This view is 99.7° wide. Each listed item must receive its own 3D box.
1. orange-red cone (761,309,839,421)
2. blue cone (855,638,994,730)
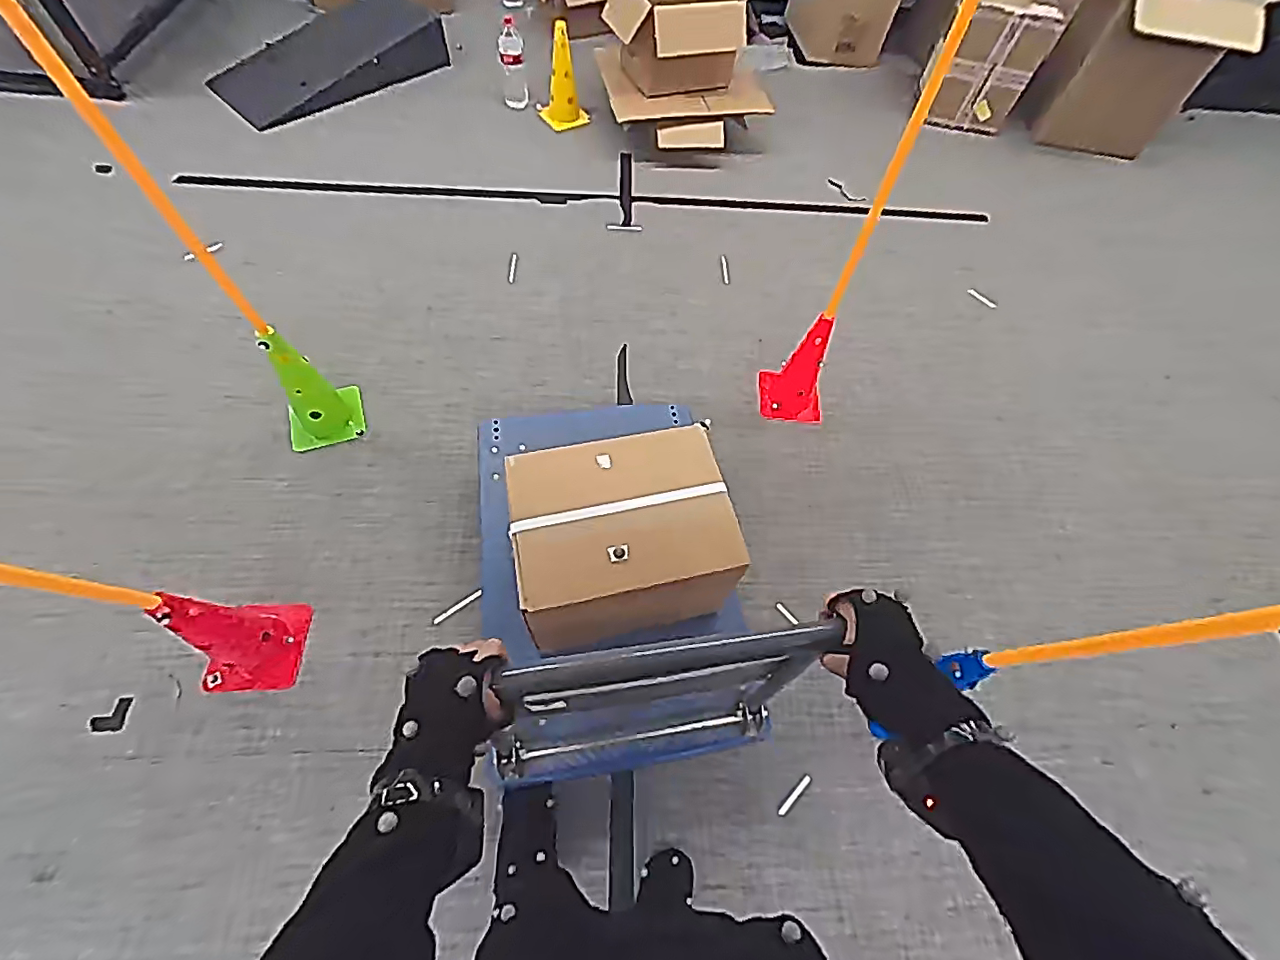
[{"bbox_3d":[0.510,-0.366,1.620,0.199,0.360,0.198,7,61,-2],"label":"orange-red cone"},{"bbox_3d":[0.655,0.427,1.195,0.193,0.380,0.192,-2,59,-7],"label":"blue cone"}]
